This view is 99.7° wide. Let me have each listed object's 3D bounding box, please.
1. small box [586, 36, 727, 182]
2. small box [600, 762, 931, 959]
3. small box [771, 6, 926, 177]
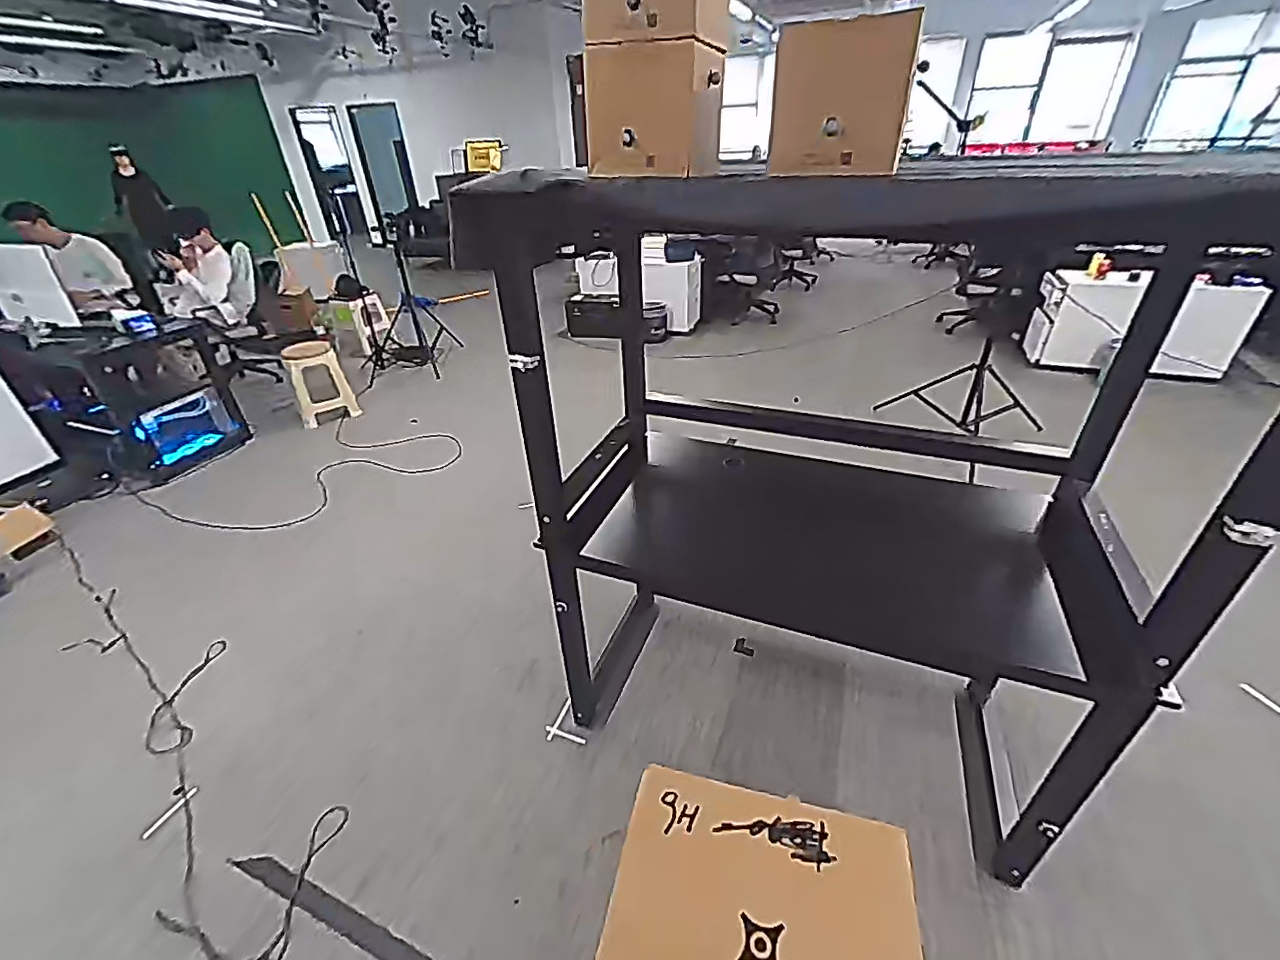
[{"bbox_3d":[0.028,-0.564,0.837,0.168,0.176,0.179,11,34,18],"label":"small box"},{"bbox_3d":[0.064,0.311,0.320,0.168,0.176,0.179,9,37,12],"label":"small box"},{"bbox_3d":[0.281,-0.518,0.744,0.168,0.176,0.179,11,33,20],"label":"small box"}]
